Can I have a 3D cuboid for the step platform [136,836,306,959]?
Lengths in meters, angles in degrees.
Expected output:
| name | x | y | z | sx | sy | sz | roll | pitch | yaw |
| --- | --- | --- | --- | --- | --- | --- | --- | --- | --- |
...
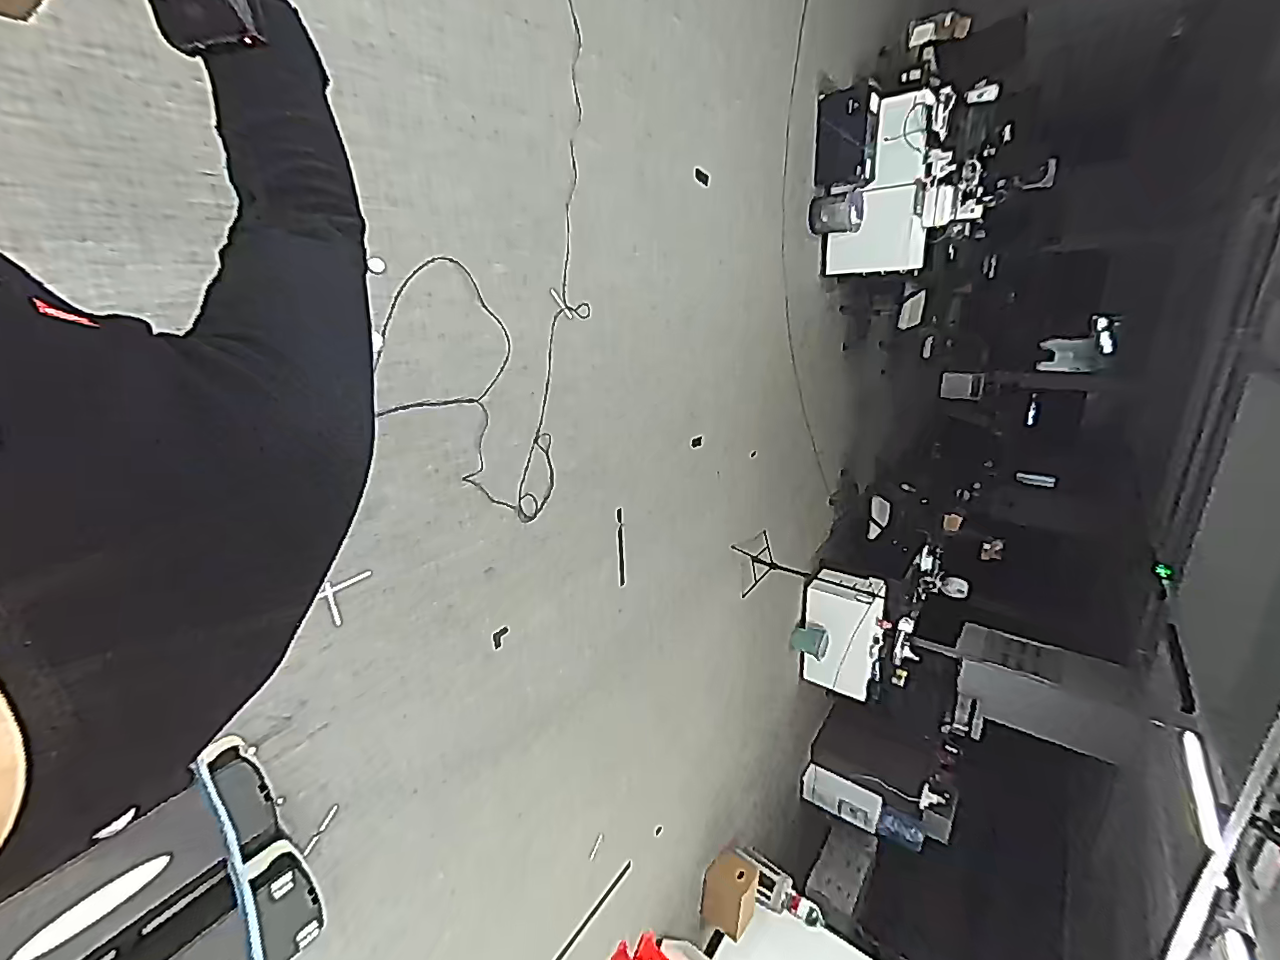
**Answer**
| name | x | y | z | sx | sy | sz | roll | pitch | yaw |
| --- | --- | --- | --- | --- | --- | --- | --- | --- | --- |
| step platform | -1.147 | 1.184 | 1.205 | 0.684 | 0.204 | 0.286 | -28 | 121 | -45 |
